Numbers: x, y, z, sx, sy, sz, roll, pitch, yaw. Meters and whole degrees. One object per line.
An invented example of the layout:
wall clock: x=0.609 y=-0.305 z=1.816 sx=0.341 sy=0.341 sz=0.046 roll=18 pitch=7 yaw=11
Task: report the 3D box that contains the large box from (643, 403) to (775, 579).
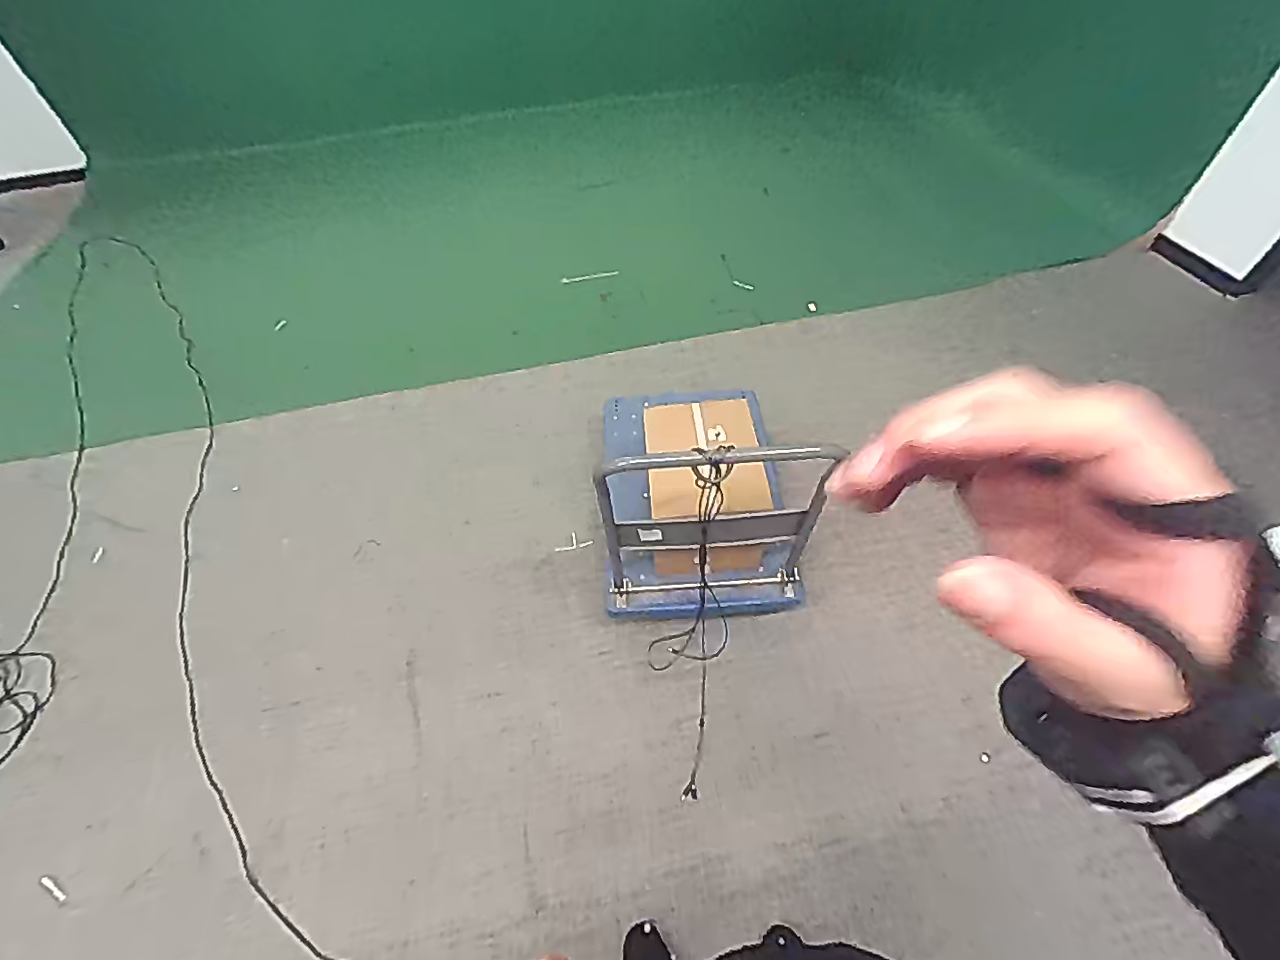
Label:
large box: x=0.185 y=0.034 z=1.591 sx=0.320 sy=0.320 sz=0.408 roll=-4 pitch=52 yaw=1
